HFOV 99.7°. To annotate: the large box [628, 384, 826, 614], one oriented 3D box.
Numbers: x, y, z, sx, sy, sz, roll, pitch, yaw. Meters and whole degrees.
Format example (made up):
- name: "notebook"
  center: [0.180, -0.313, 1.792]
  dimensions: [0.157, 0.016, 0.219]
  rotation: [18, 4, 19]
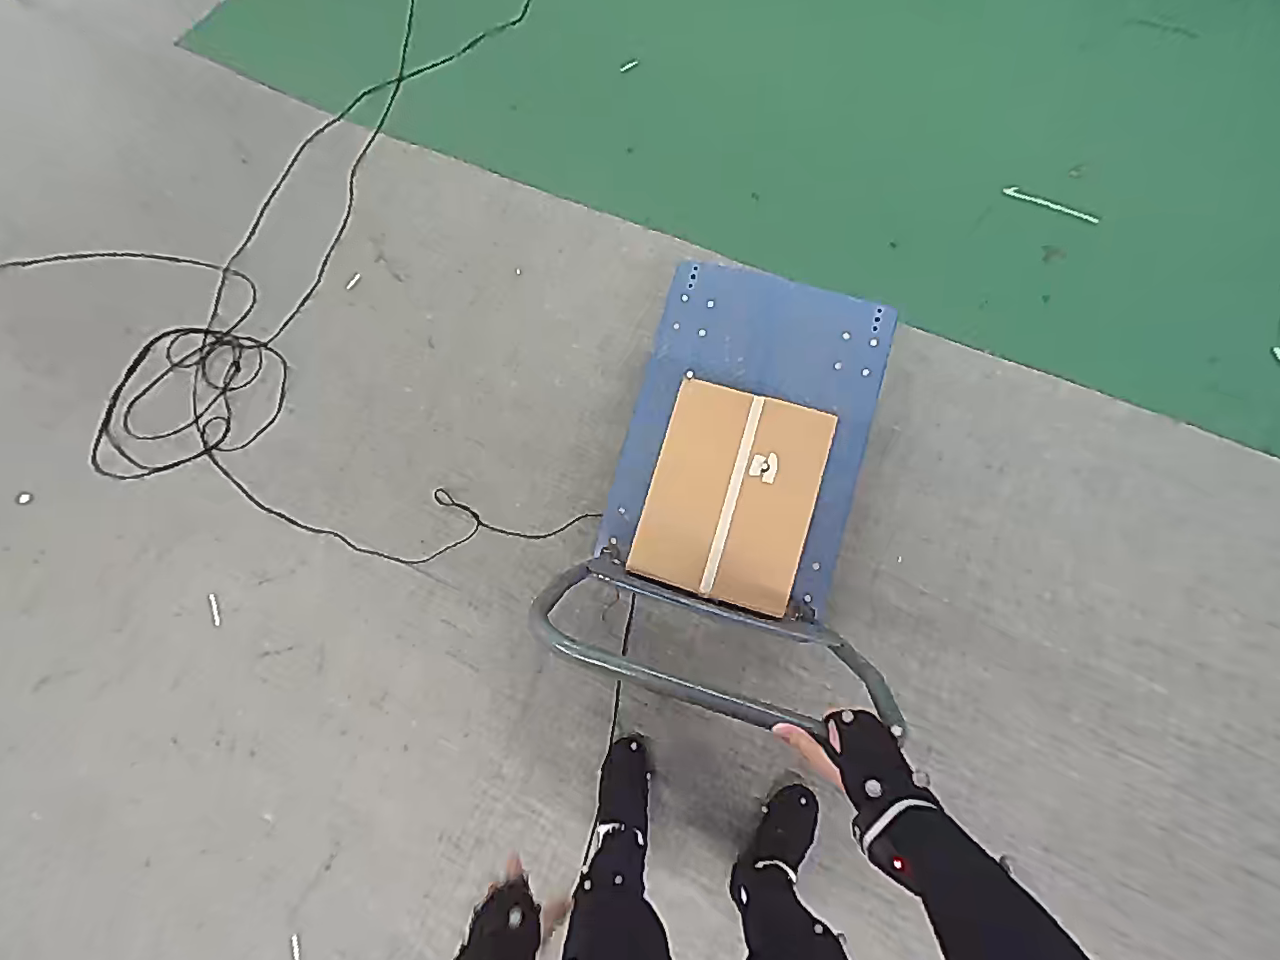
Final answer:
- name: "large box"
  center: [0.188, 0.053, 1.215]
  dimensions: [0.320, 0.320, 0.408]
  rotation: [16, 83, 7]
